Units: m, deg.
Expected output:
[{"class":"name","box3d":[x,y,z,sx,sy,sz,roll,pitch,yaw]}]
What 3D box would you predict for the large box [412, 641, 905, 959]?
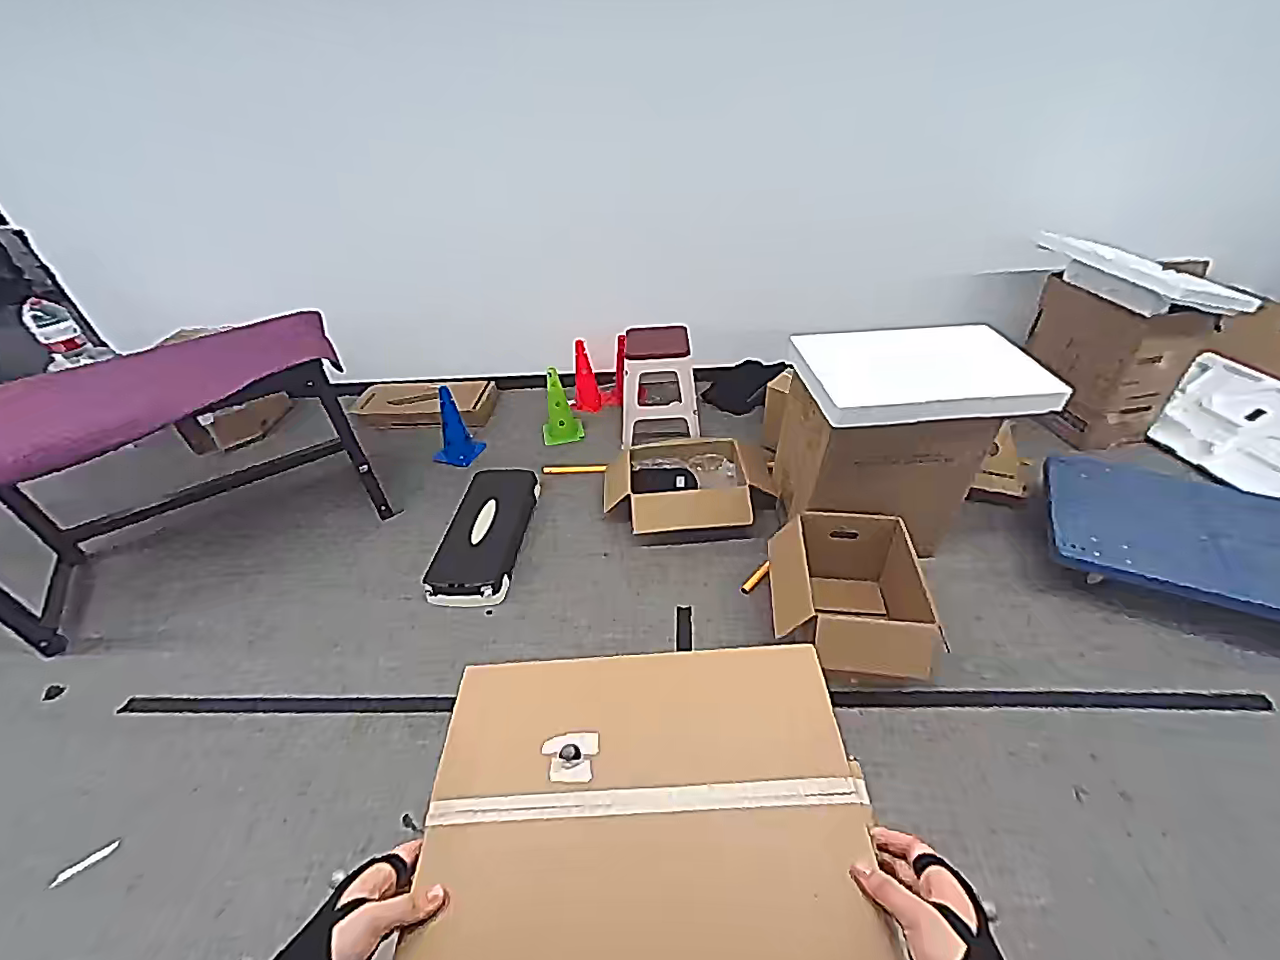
[{"class":"large box","box3d":[0.024,0.419,0.616,0.408,0.320,0.320,-7,39,4]}]
